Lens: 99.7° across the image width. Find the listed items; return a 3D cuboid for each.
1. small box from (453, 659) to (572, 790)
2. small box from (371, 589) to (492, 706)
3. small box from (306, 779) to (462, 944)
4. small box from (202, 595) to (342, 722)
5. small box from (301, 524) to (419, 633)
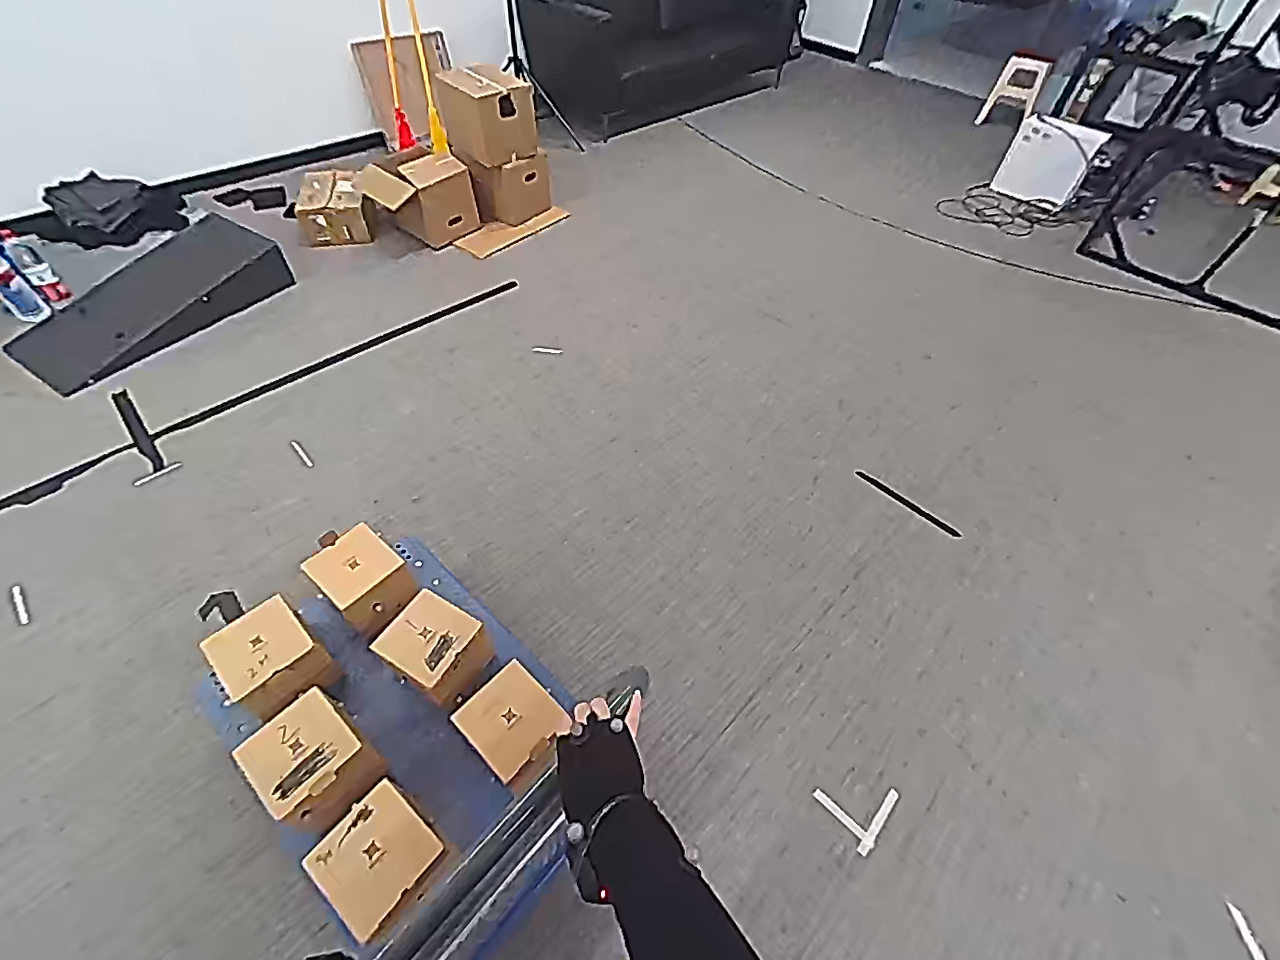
[{"bbox_3d":[-0.257,0.518,1.133,0.179,0.176,0.168,36,57,23],"label":"small box"},{"bbox_3d":[-0.458,0.385,1.224,0.179,0.176,0.168,25,53,16],"label":"small box"},{"bbox_3d":[-0.450,0.685,0.979,0.179,0.176,0.168,33,55,20],"label":"small box"},{"bbox_3d":[-0.799,0.396,1.188,0.179,0.176,0.168,38,58,23],"label":"small box"},{"bbox_3d":[-0.673,0.247,1.321,0.179,0.176,0.168,33,56,21],"label":"small box"}]
